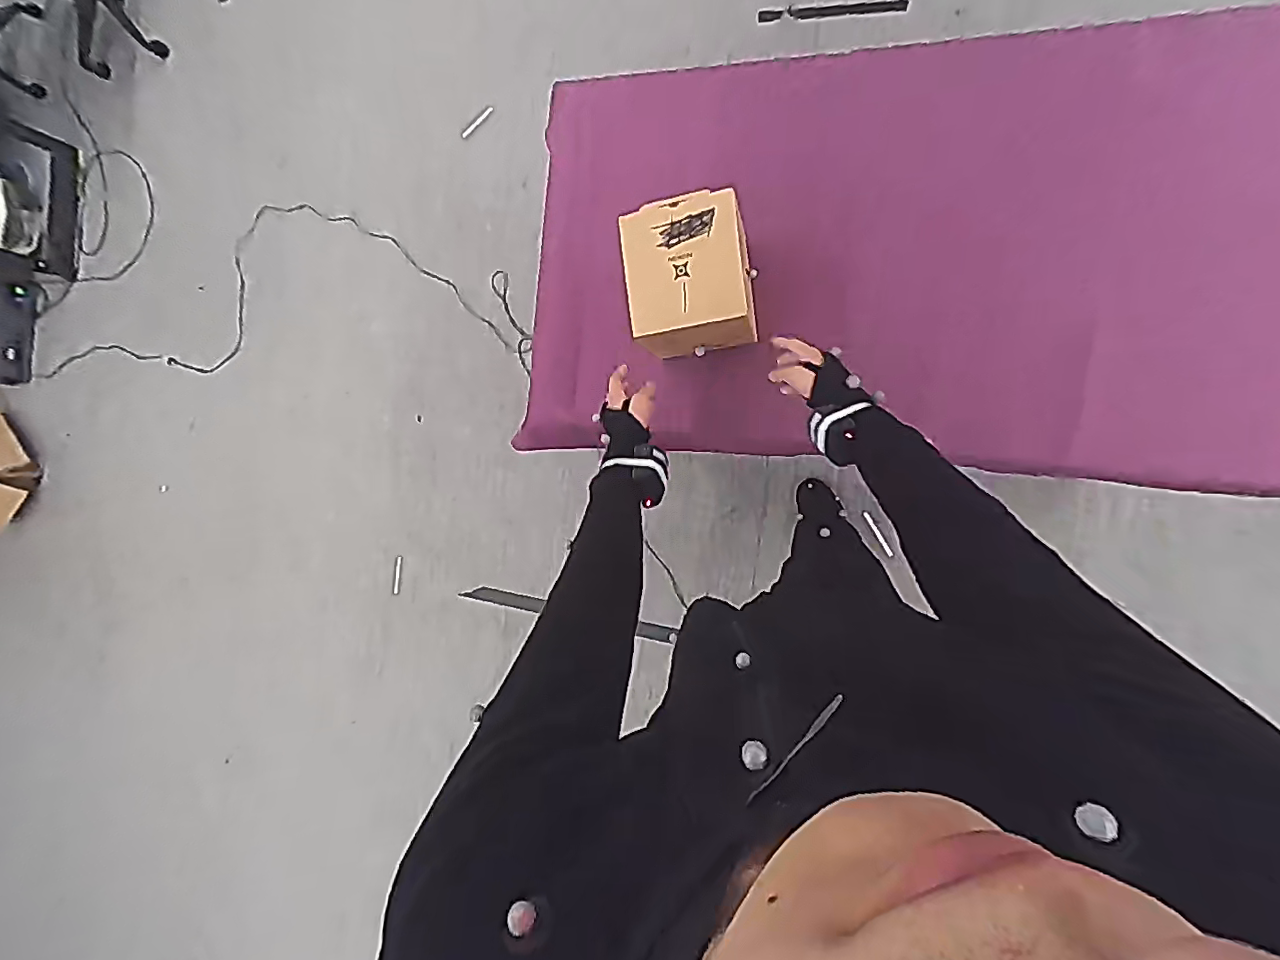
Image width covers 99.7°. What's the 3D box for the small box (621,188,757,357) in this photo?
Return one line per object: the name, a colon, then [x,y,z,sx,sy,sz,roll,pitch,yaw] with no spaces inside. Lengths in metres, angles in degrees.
small box: [0.080,-0.299,0.818,0.168,0.176,0.179,-7,91,17]
